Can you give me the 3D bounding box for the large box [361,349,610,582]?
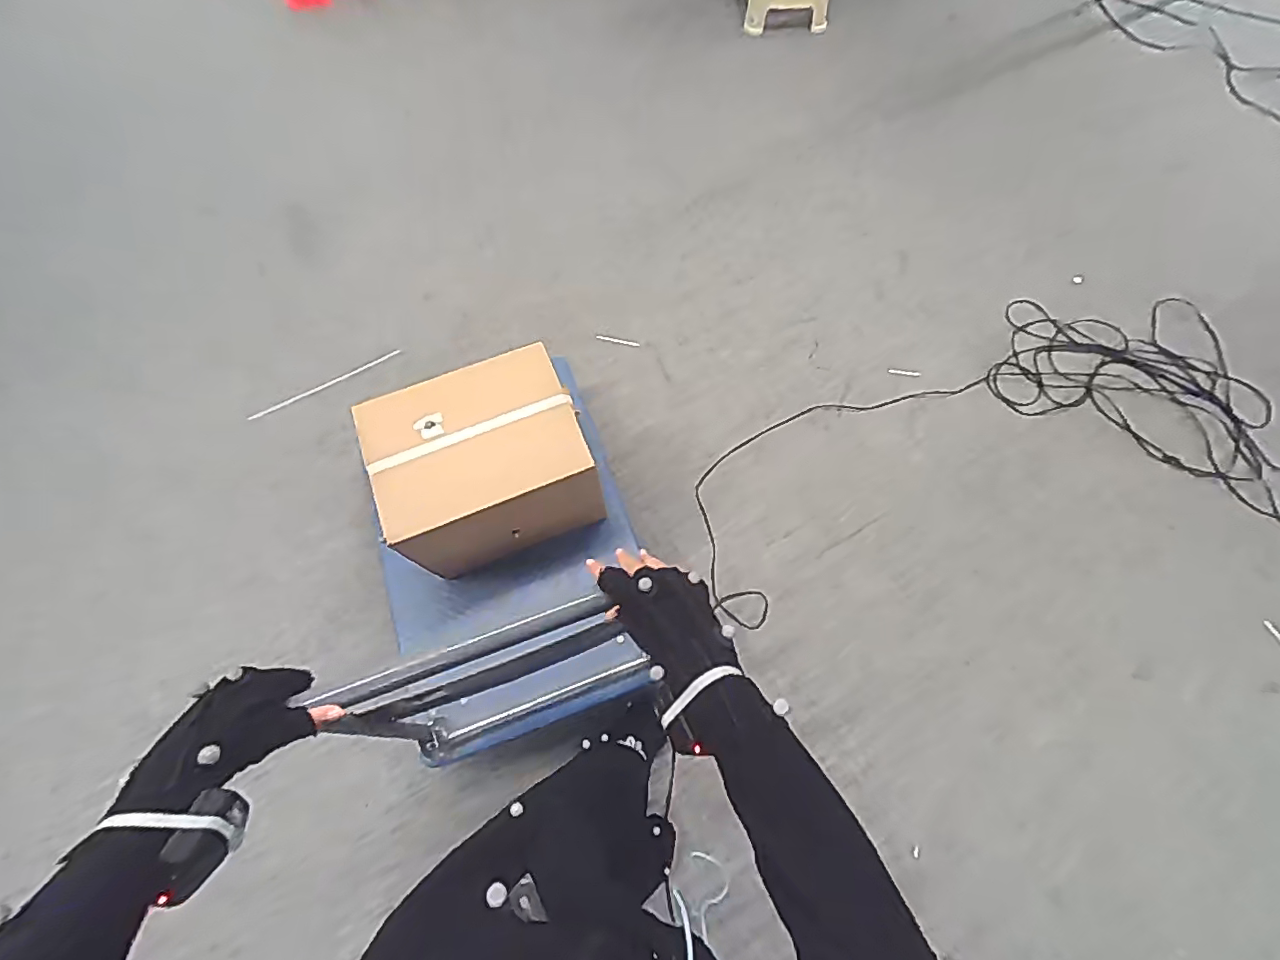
[{"bbox_3d":[-0.314,-0.017,1.194,0.408,0.320,0.320,-23,69,-7],"label":"large box"}]
